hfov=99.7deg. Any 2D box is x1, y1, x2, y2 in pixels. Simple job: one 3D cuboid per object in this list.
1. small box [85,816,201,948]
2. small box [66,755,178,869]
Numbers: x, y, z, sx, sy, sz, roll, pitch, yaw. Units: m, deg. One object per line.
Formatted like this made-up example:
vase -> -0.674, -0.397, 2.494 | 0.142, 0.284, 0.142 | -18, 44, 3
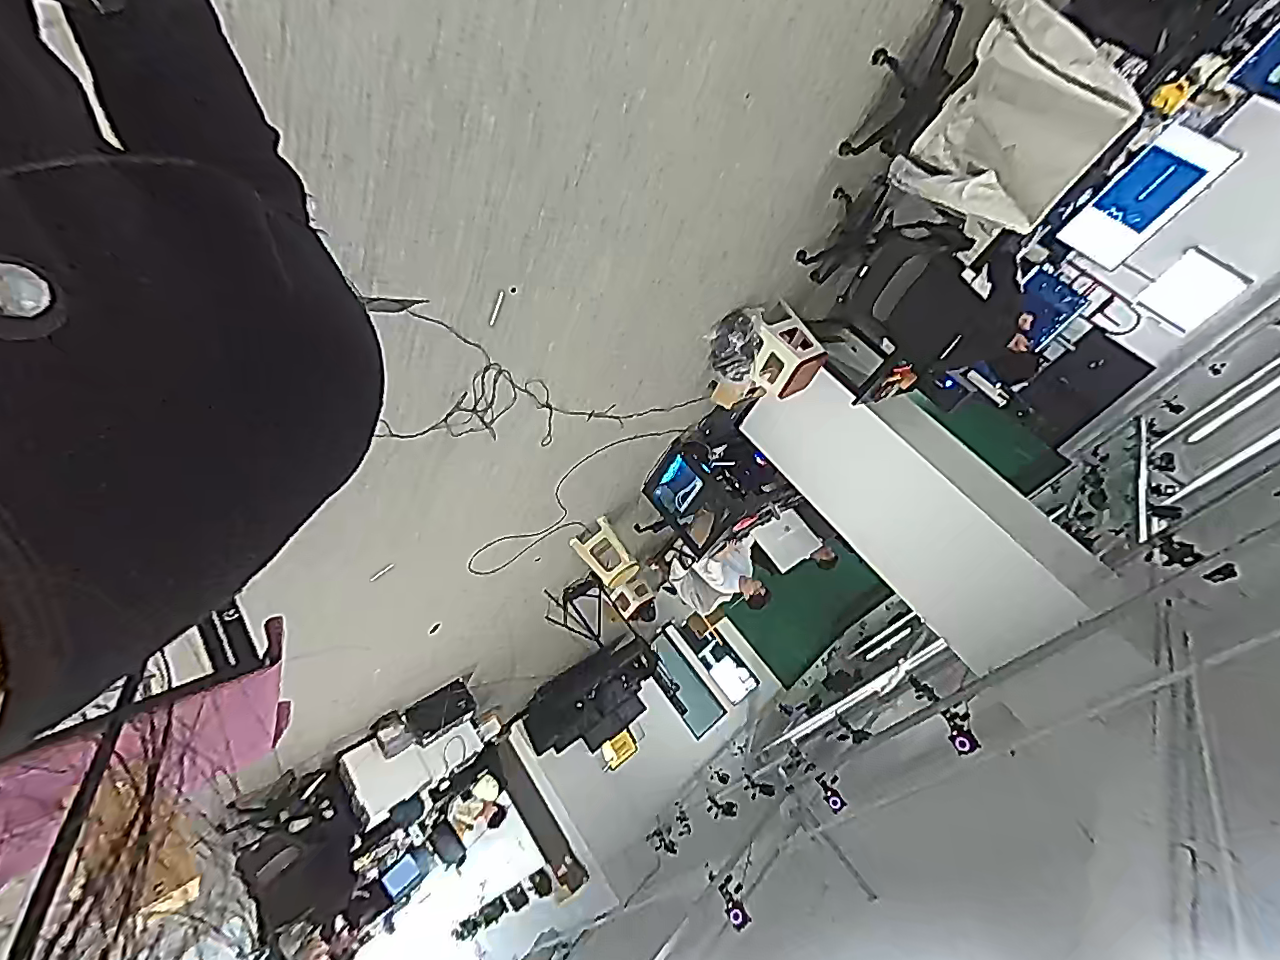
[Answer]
small box -> -1.142, 0.919, 1.246 | 0.168, 0.176, 0.179 | -16, 149, -48
small box -> -1.241, 0.801, 1.302 | 0.168, 0.176, 0.179 | -16, 148, -47
